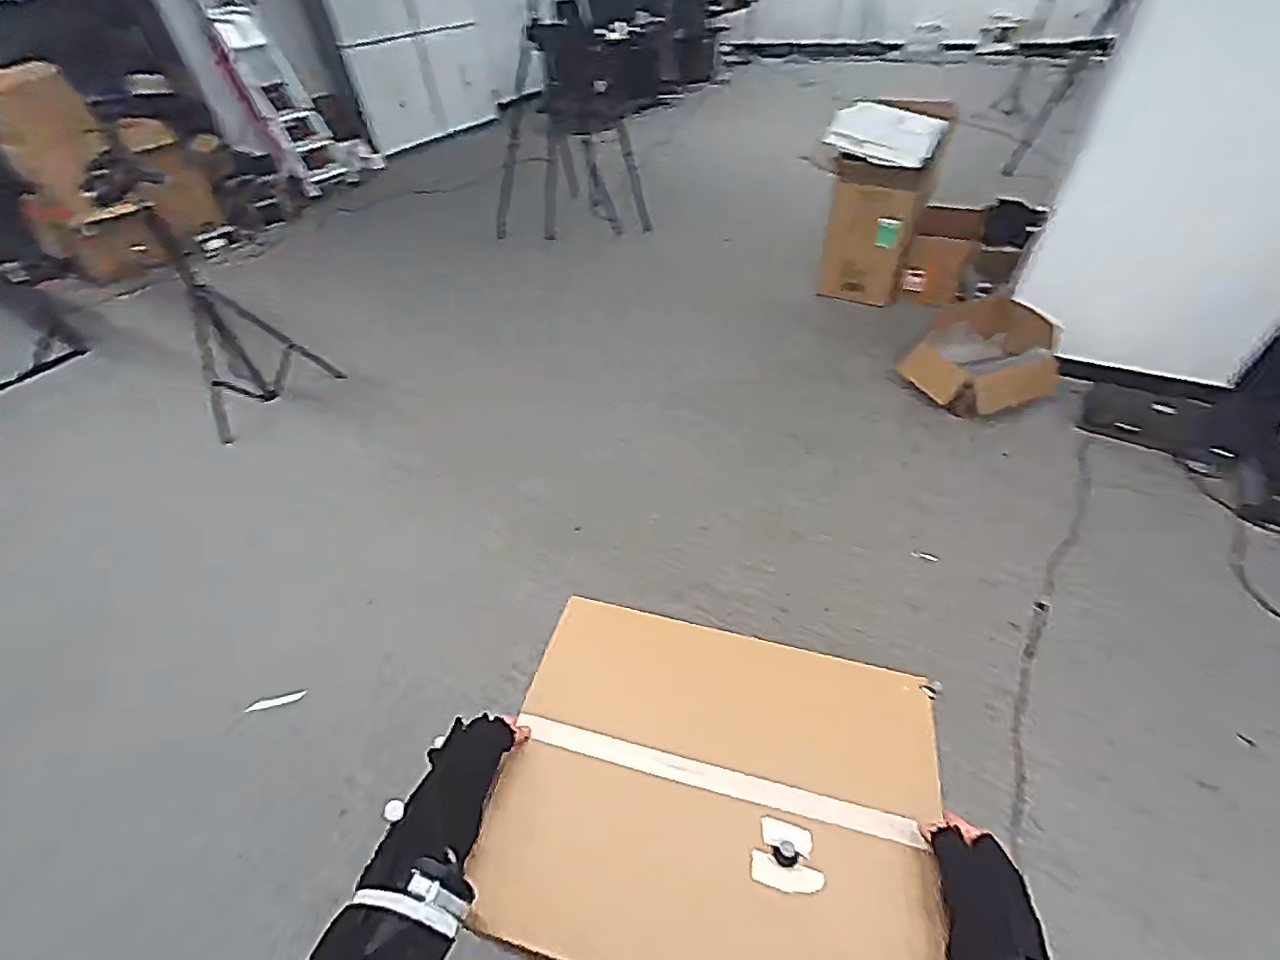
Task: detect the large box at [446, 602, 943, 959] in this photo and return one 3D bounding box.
[{"bbox_3d":[0.063,0.388,0.617,0.408,0.320,0.320,11,45,10],"label":"large box"}]
